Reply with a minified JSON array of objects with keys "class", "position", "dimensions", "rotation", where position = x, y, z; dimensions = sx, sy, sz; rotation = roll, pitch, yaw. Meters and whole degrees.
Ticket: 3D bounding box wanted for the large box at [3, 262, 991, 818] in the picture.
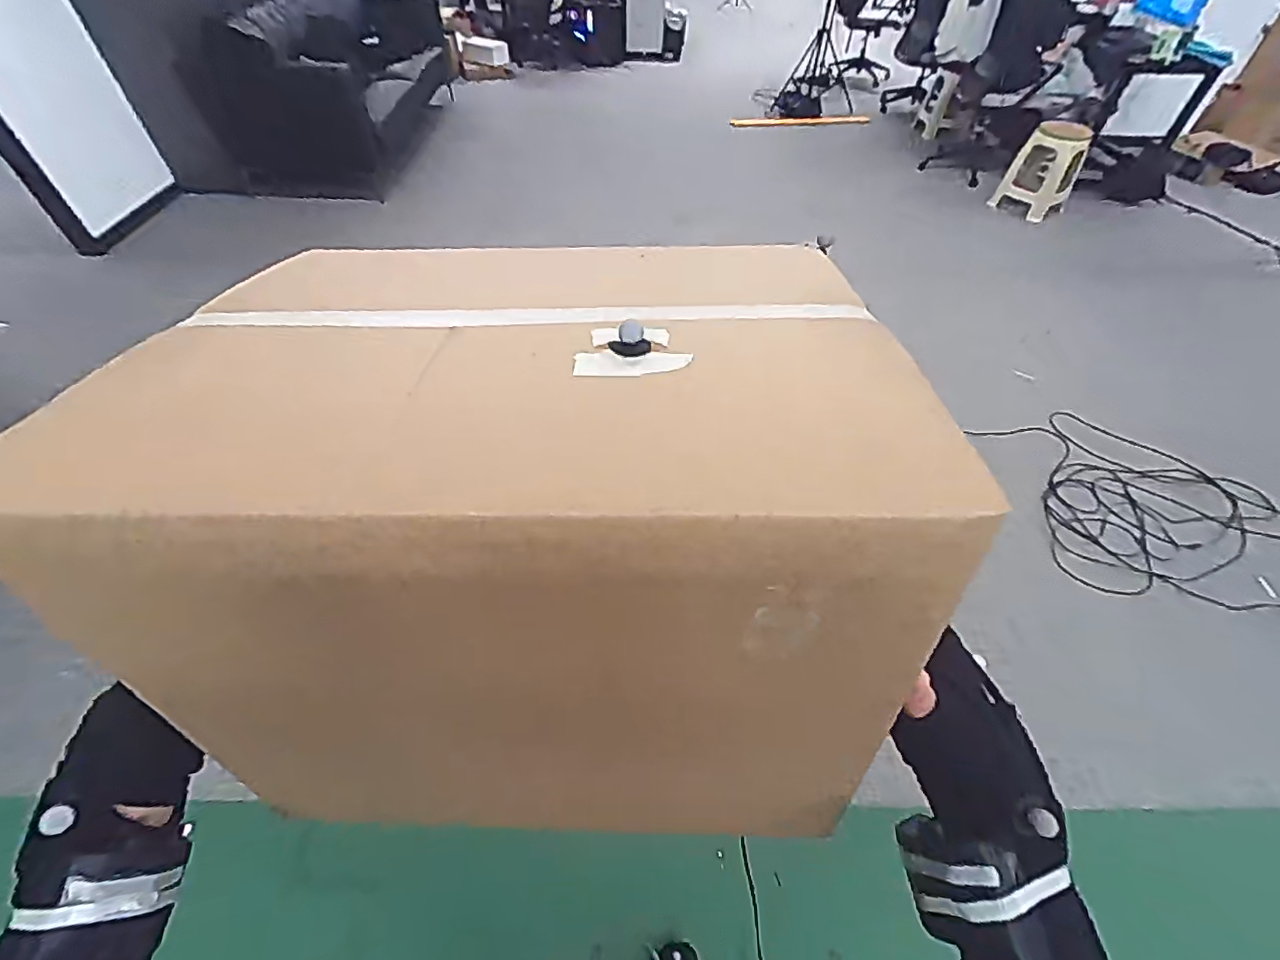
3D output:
[{"class":"large box","position":[-0.056,0.033,0.420],"dimensions":[0.408,0.320,0.320],"rotation":[1,40,2]}]
